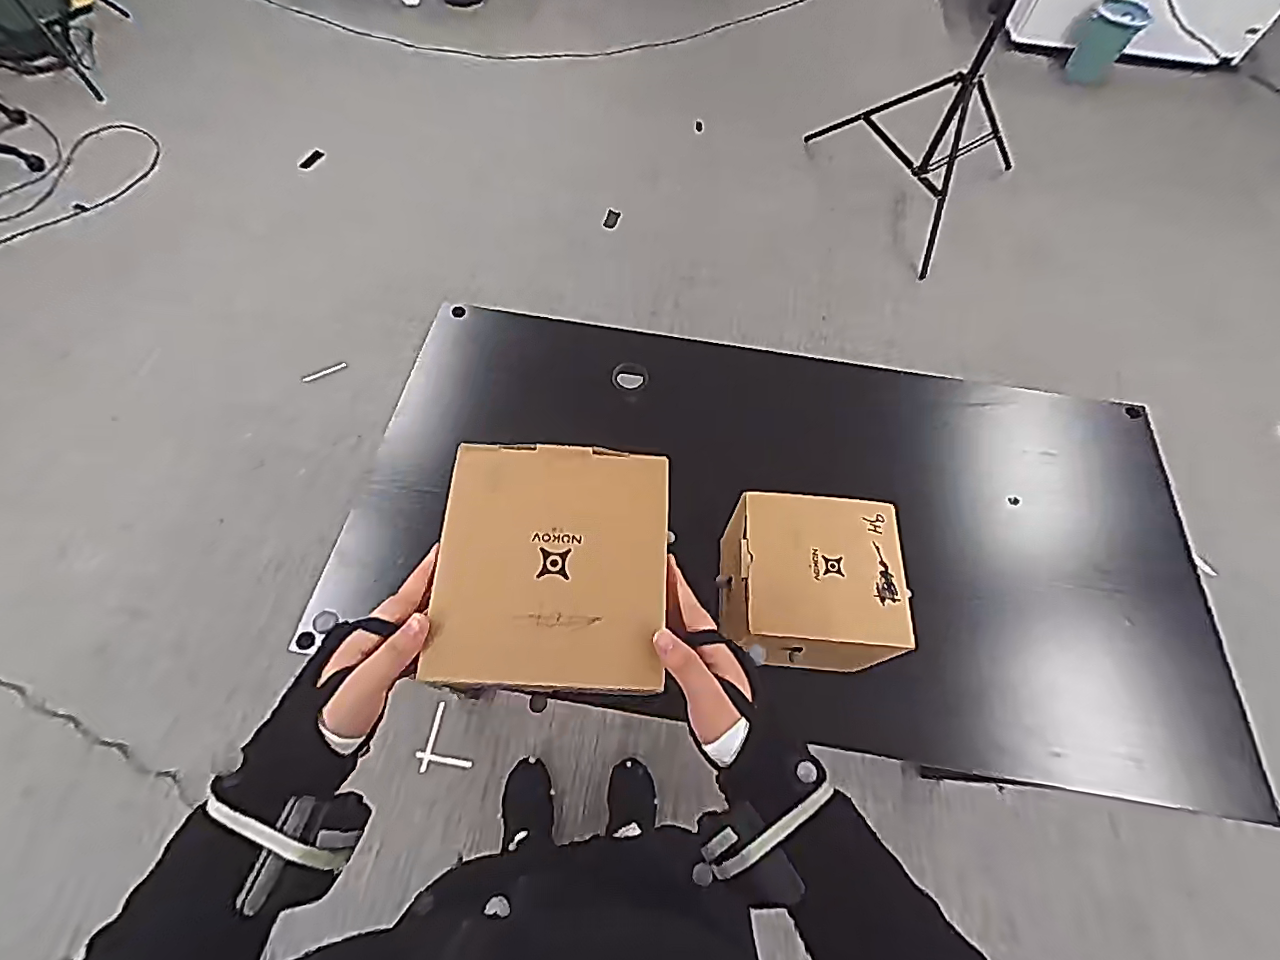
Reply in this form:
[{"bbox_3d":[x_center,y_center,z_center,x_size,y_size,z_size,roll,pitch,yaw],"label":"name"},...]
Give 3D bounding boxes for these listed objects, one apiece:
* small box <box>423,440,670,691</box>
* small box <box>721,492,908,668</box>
[{"bbox_3d":[-0.068,0.084,0.469,0.168,0.176,0.179,3,67,-3],"label":"small box"},{"bbox_3d":[0.196,0.129,0.665,0.179,0.176,0.168,4,62,1],"label":"small box"}]
